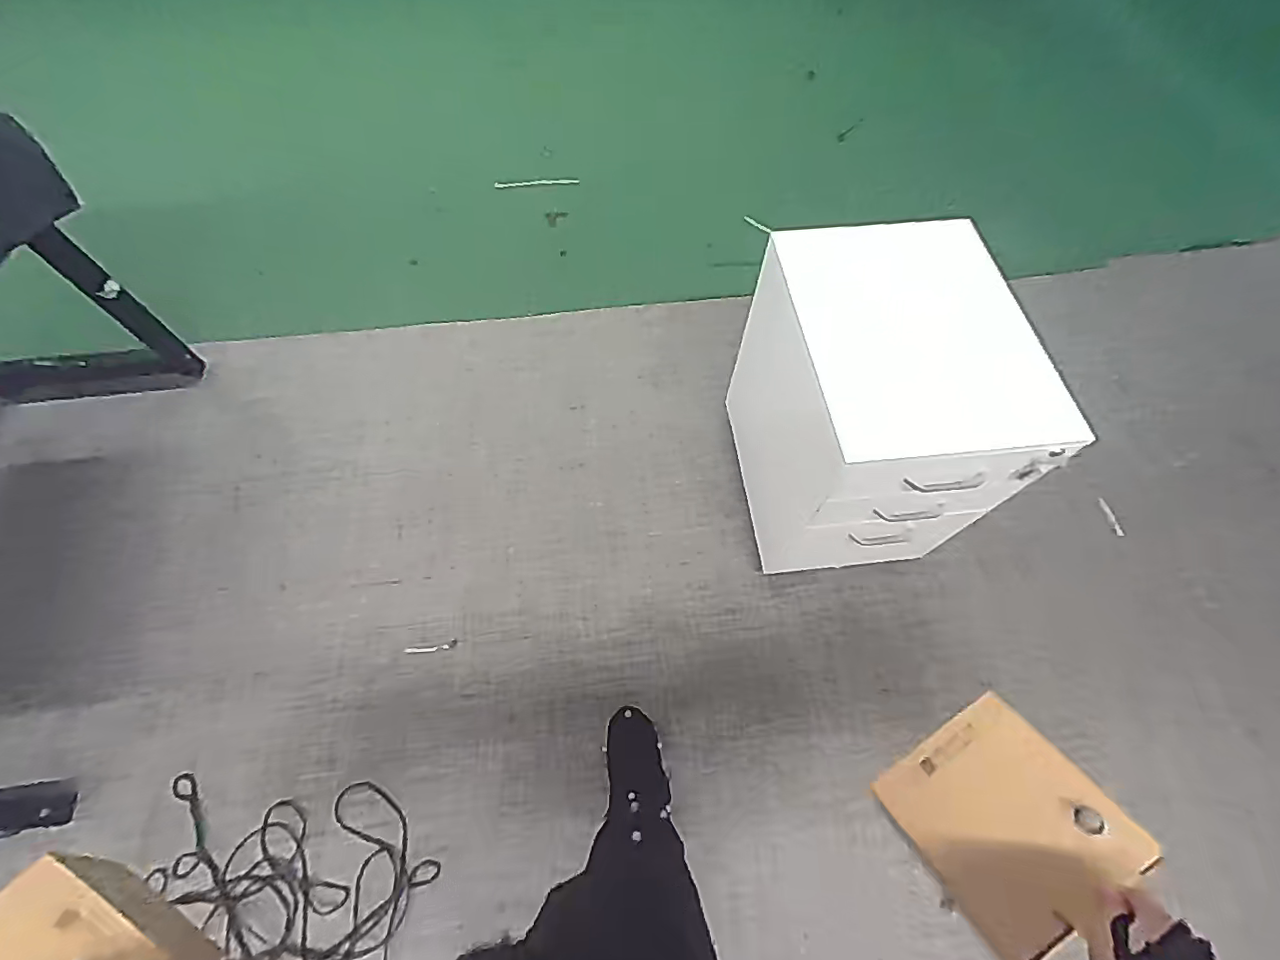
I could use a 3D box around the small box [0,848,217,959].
[{"bbox_3d":[-0.535,0.472,0.492,0.168,0.179,0.176,36,48,5],"label":"small box"}]
